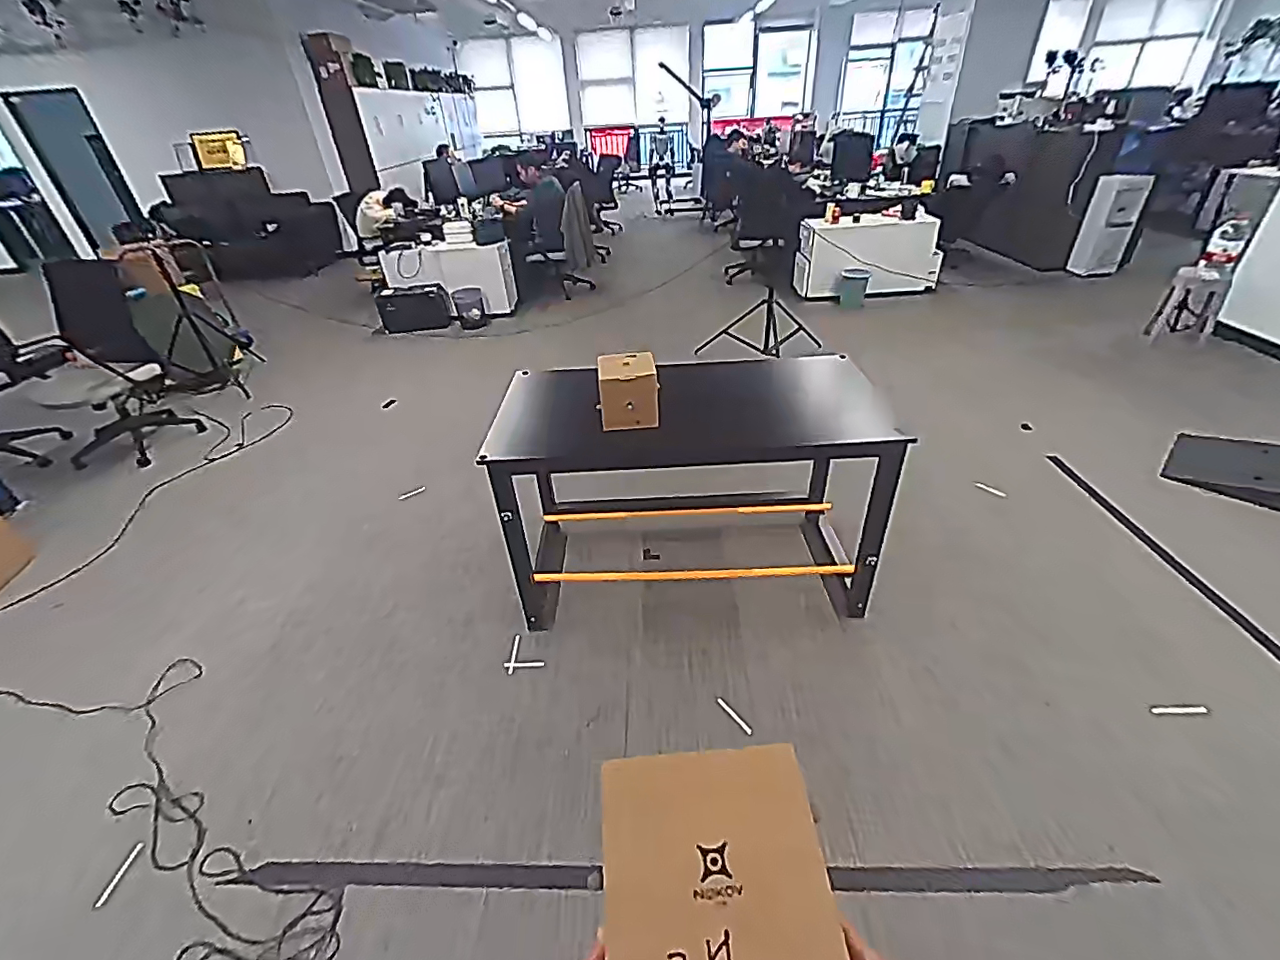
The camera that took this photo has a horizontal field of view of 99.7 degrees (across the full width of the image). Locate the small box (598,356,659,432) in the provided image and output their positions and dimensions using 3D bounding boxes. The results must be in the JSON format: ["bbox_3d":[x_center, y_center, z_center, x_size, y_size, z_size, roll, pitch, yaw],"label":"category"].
[{"bbox_3d":[-0.035,-0.254,1.626,0.168,0.176,0.179,-6,35,-1],"label":"small box"}]

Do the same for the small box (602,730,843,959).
[{"bbox_3d":[0.055,0.341,0.465,0.168,0.176,0.179,-5,44,-1],"label":"small box"}]
